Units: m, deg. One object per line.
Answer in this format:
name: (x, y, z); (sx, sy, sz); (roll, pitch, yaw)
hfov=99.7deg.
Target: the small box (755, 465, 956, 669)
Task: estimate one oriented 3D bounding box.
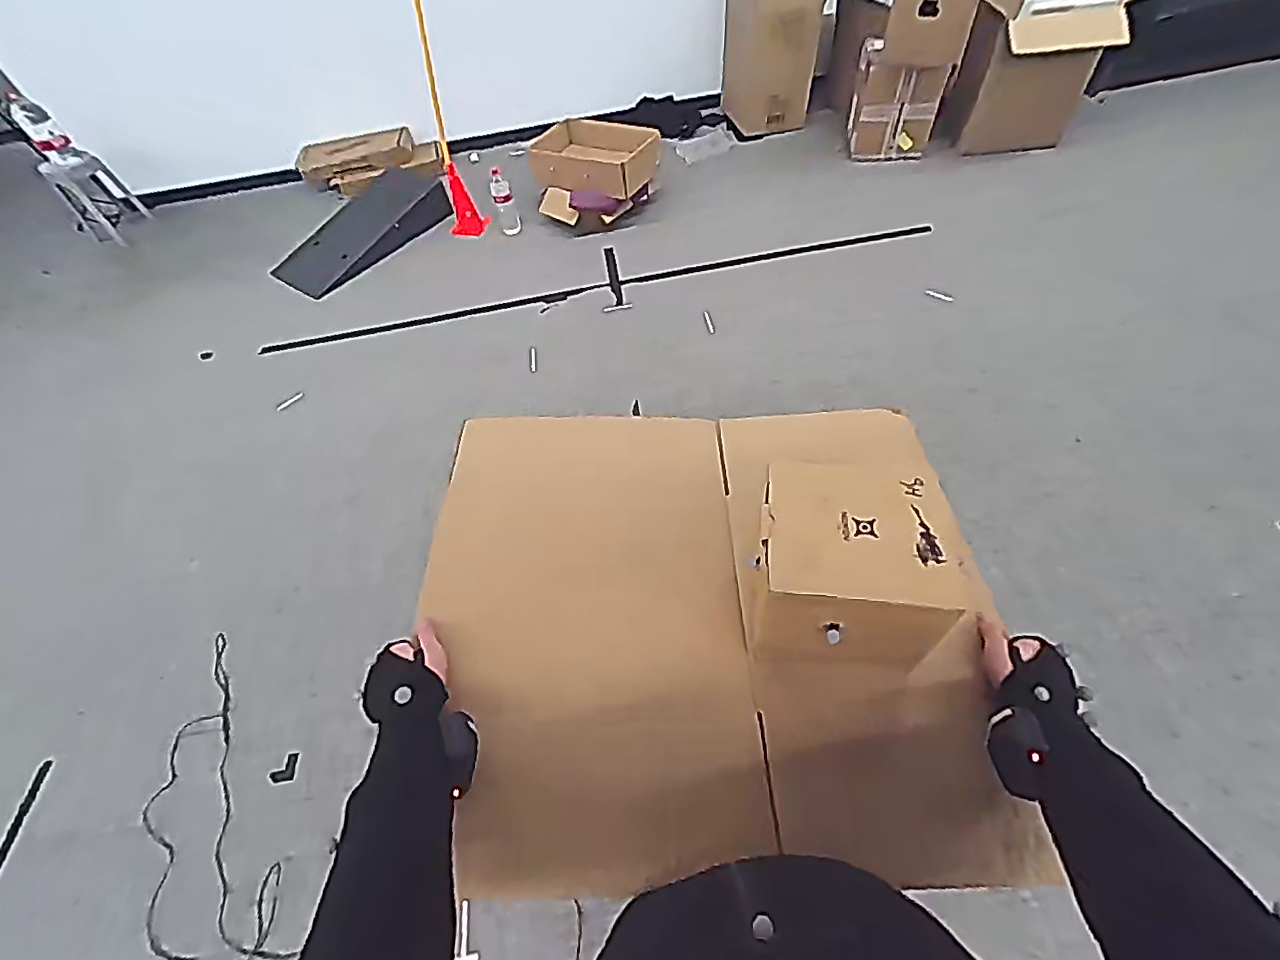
small box: (0.223, 0.101, 0.612); (0.179, 0.176, 0.168); (3, 52, 10)
